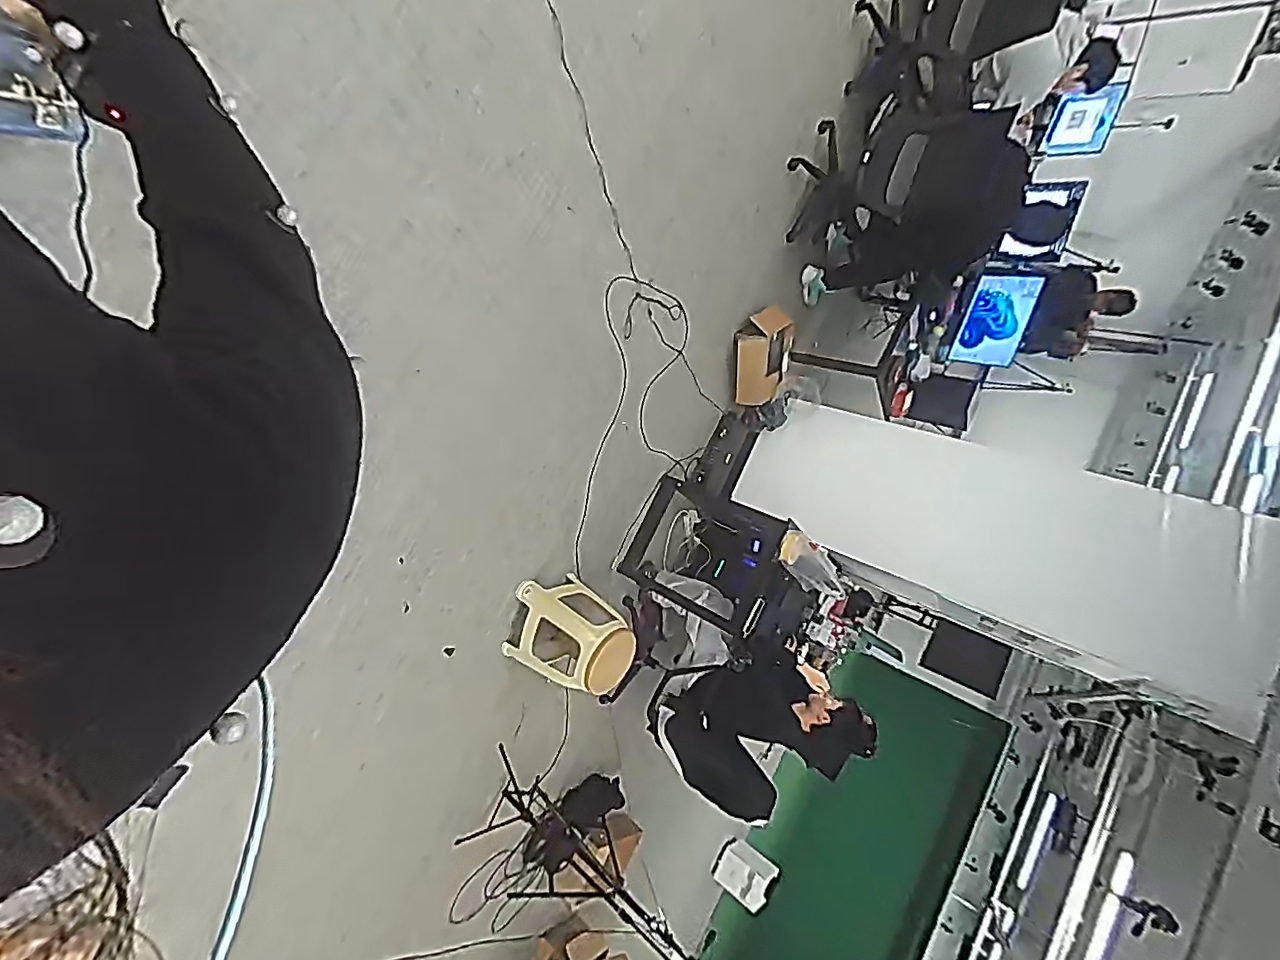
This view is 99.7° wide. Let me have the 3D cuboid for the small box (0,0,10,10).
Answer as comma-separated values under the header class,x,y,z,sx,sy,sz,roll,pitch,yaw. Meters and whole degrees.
class,x,y,z,sx,sy,sz,roll,pitch,yaw
small box,-0.905,-0.689,0.640,0.168,0.176,0.179,-24,126,-47
